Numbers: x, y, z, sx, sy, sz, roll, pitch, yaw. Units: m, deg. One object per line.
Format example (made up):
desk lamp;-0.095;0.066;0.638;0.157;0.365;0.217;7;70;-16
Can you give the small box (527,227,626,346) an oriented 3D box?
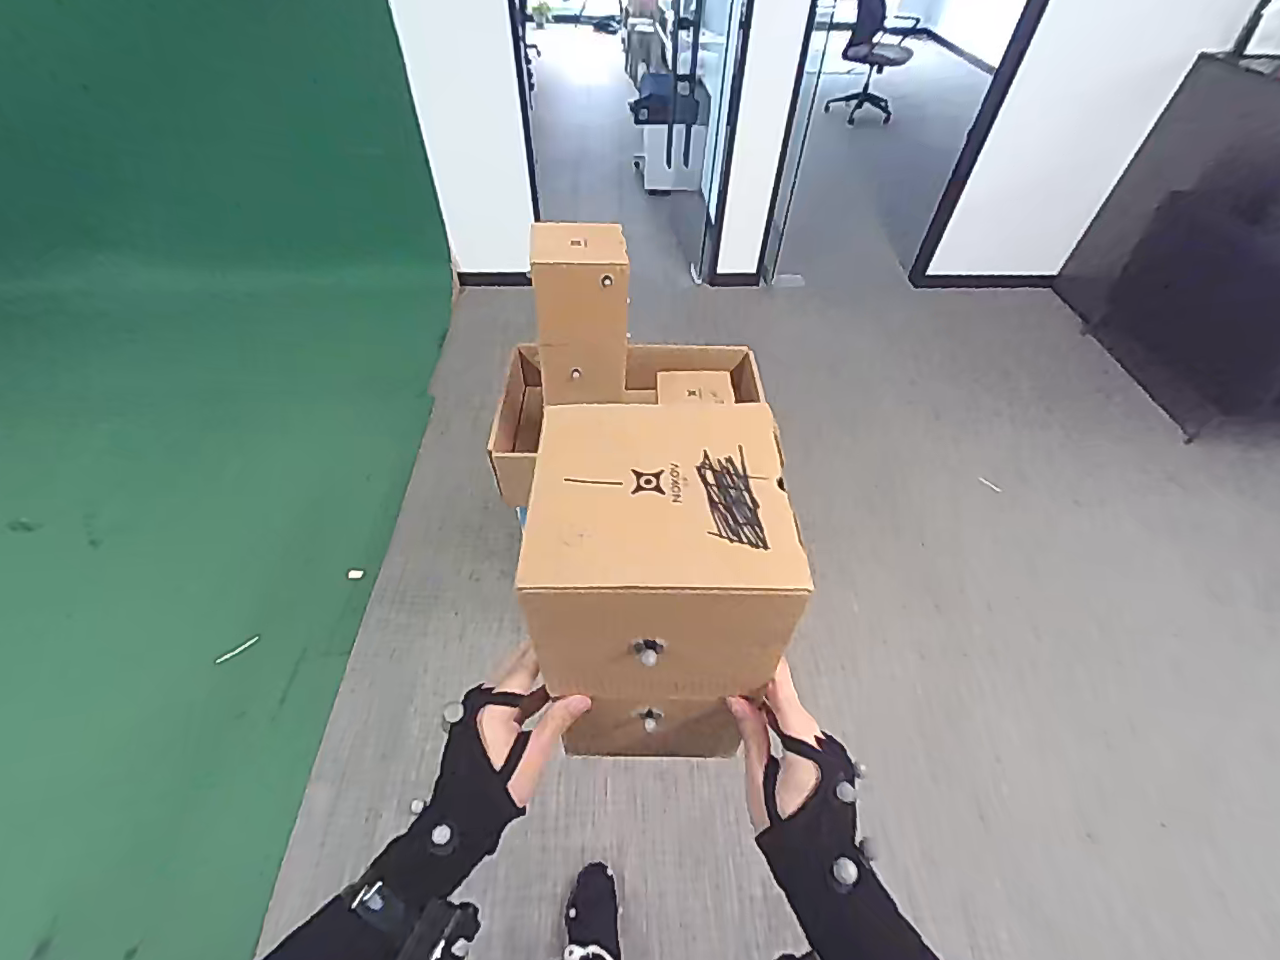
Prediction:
small box;-0.122;-0.372;1.049;0.179;0.176;0.168;-2;48;-8

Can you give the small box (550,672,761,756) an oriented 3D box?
small box;0.014;0.167;0.550;0.179;0.176;0.168;2;47;0

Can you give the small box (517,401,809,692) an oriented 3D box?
small box;0.015;0.056;0.429;0.179;0.176;0.168;0;48;0

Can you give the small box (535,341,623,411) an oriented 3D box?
small box;-0.128;-0.260;1.168;0.179;0.176;0.168;-3;49;-6
